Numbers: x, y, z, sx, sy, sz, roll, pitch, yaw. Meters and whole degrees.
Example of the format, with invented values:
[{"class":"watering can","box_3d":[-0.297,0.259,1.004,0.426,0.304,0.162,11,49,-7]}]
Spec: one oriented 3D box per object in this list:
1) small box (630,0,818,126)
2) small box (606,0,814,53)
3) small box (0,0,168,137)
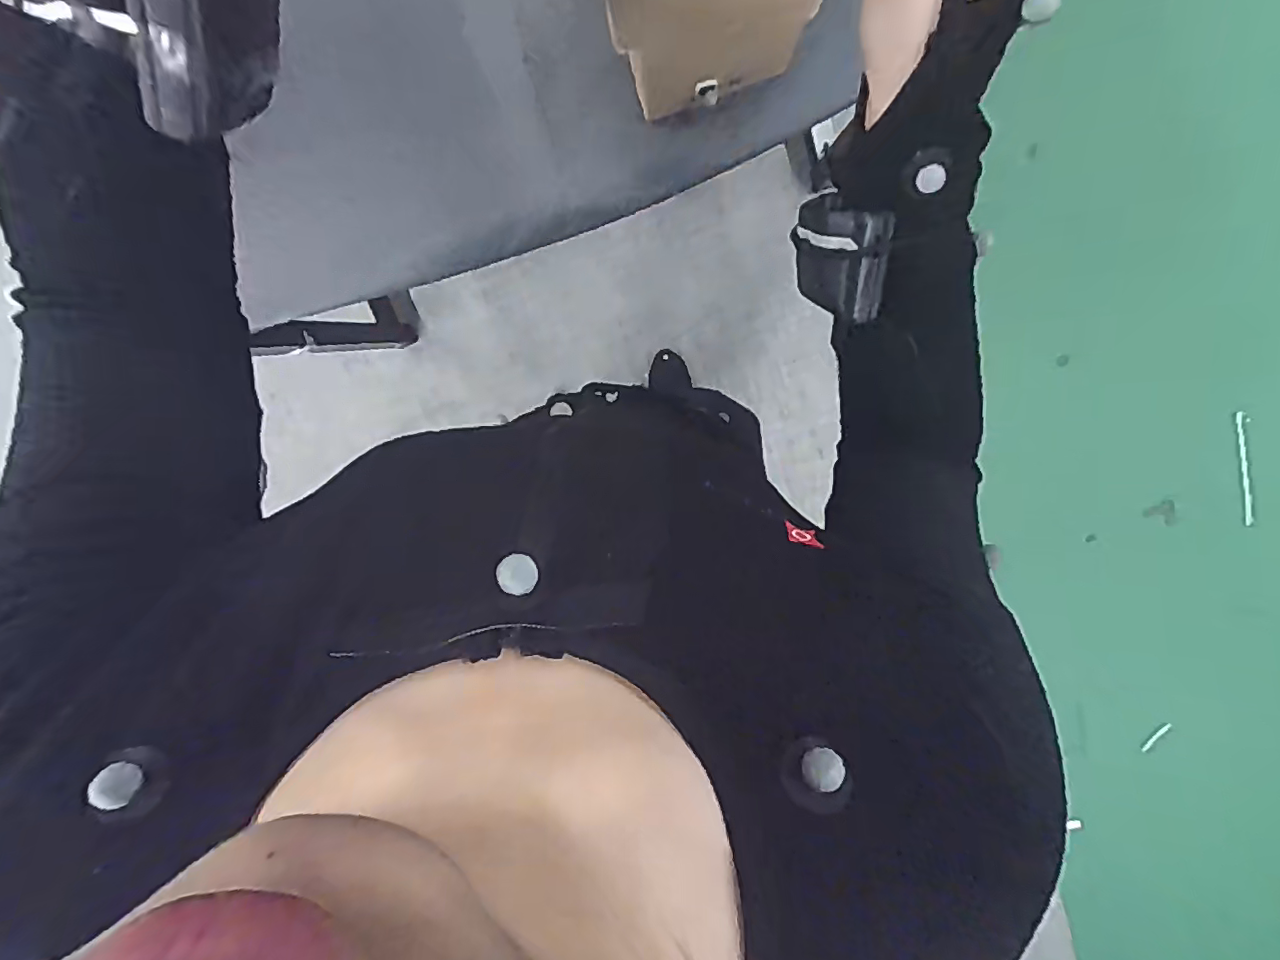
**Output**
[{"class":"small box","box_3d":[0.058,-0.492,0.526,0.168,0.176,0.179,-16,103,9]},{"class":"small box","box_3d":[0.052,-0.439,0.372,0.179,0.176,0.168,-6,103,7]},{"class":"small box","box_3d":[-0.675,-0.509,0.570,0.168,0.176,0.179,-21,103,9]}]
